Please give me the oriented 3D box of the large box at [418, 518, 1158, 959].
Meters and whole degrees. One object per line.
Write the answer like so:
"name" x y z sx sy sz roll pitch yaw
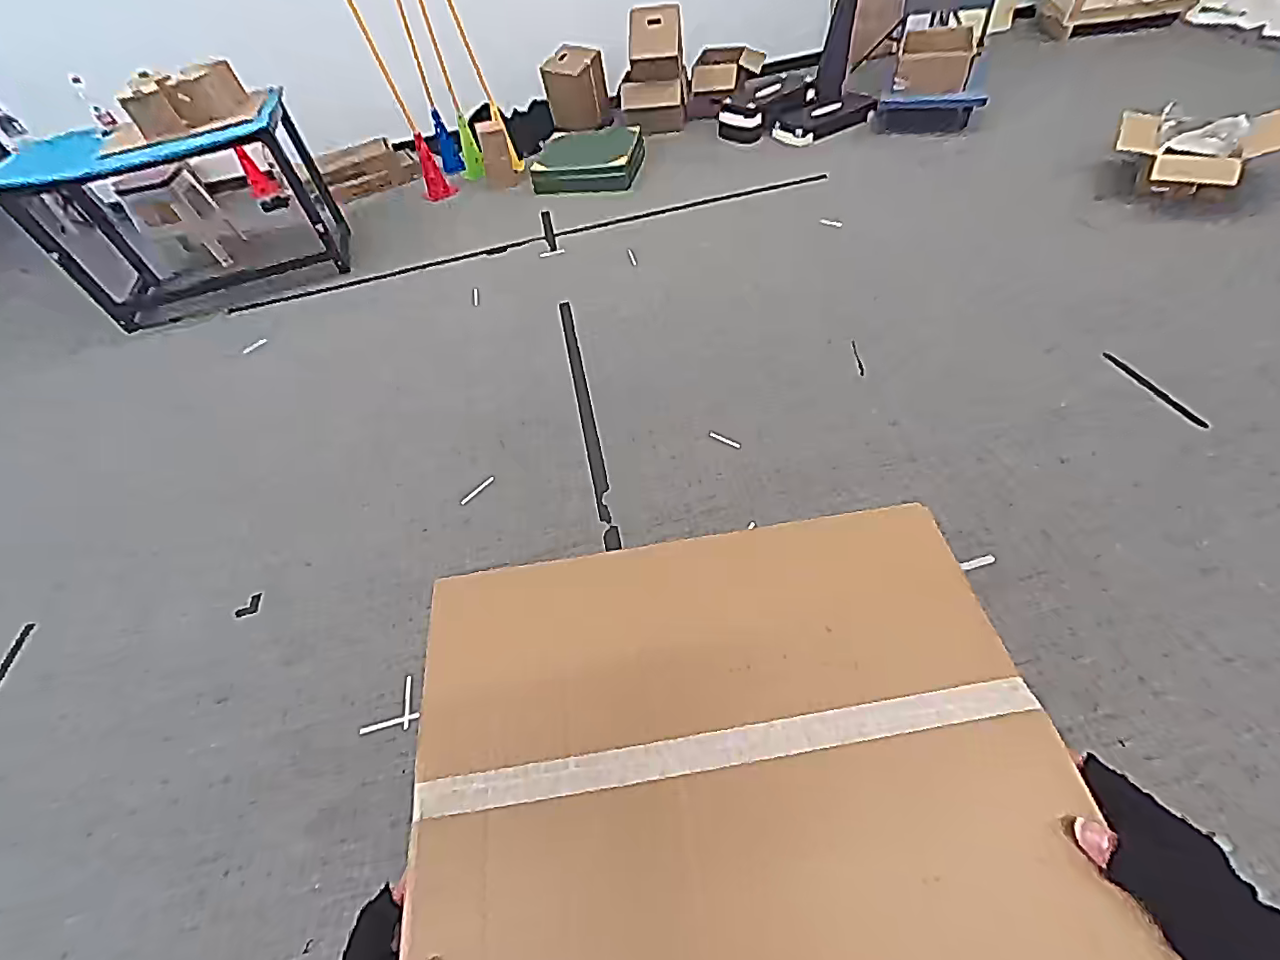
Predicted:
"large box" 0.071 0.272 0.474 0.408 0.320 0.320 -10 53 -1
